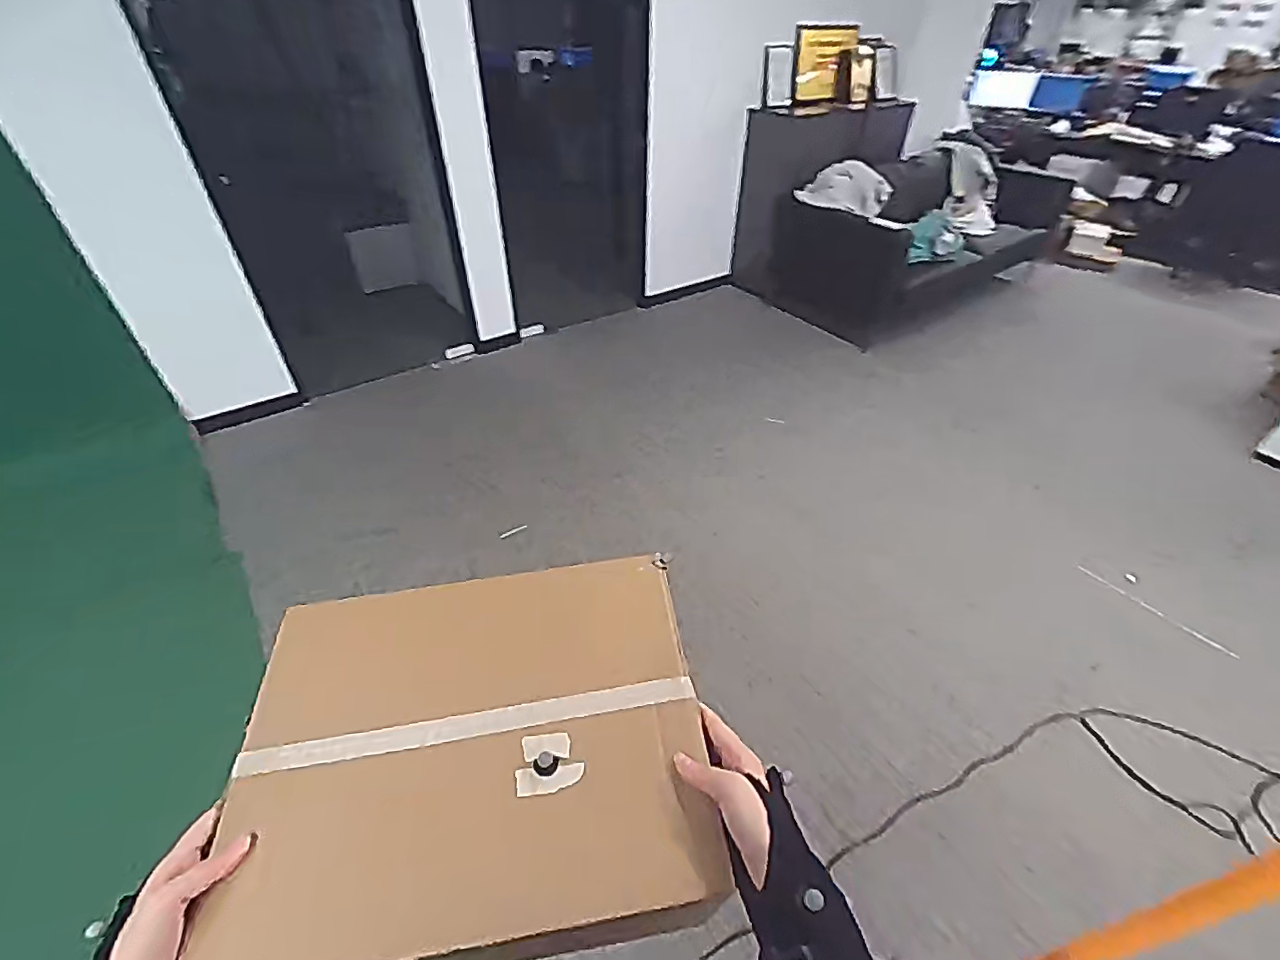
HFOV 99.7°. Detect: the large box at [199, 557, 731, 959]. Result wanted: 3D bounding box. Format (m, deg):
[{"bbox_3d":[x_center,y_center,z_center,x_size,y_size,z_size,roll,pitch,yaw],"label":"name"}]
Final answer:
[{"bbox_3d":[-0.149,0.327,0.609,0.408,0.320,0.320,-7,48,-7],"label":"large box"}]
